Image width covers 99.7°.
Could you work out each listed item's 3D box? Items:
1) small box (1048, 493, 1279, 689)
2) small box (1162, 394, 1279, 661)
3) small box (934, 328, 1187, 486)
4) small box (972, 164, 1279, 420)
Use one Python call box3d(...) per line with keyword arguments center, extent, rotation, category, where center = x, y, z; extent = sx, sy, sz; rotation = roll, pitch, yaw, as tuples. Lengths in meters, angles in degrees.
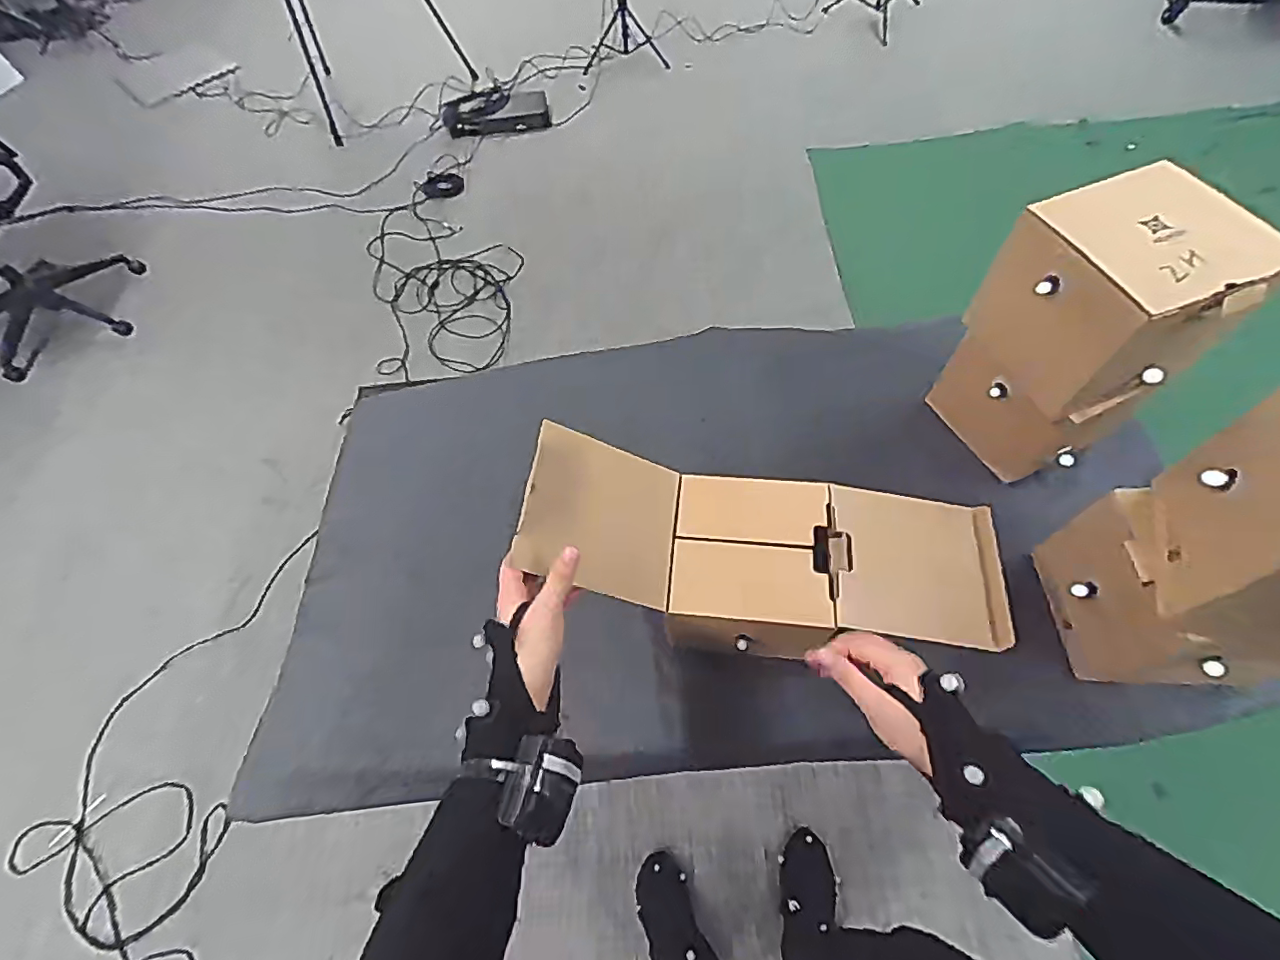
box3d(center=(0.590, 0.126, 0.589), extent=(0.179, 0.176, 0.168), rotation=(-1, 58, 6), category="small box")
box3d(center=(0.580, 0.054, 0.442), extent=(0.179, 0.176, 0.168), rotation=(18, 61, 16), category="small box")
box3d(center=(0.544, -0.122, 0.735), extent=(0.168, 0.176, 0.179), rotation=(-25, 63, -6), category="small box")
box3d(center=(0.511, -0.198, 0.592), extent=(0.168, 0.176, 0.179), rotation=(-20, 62, -2), category="small box")
